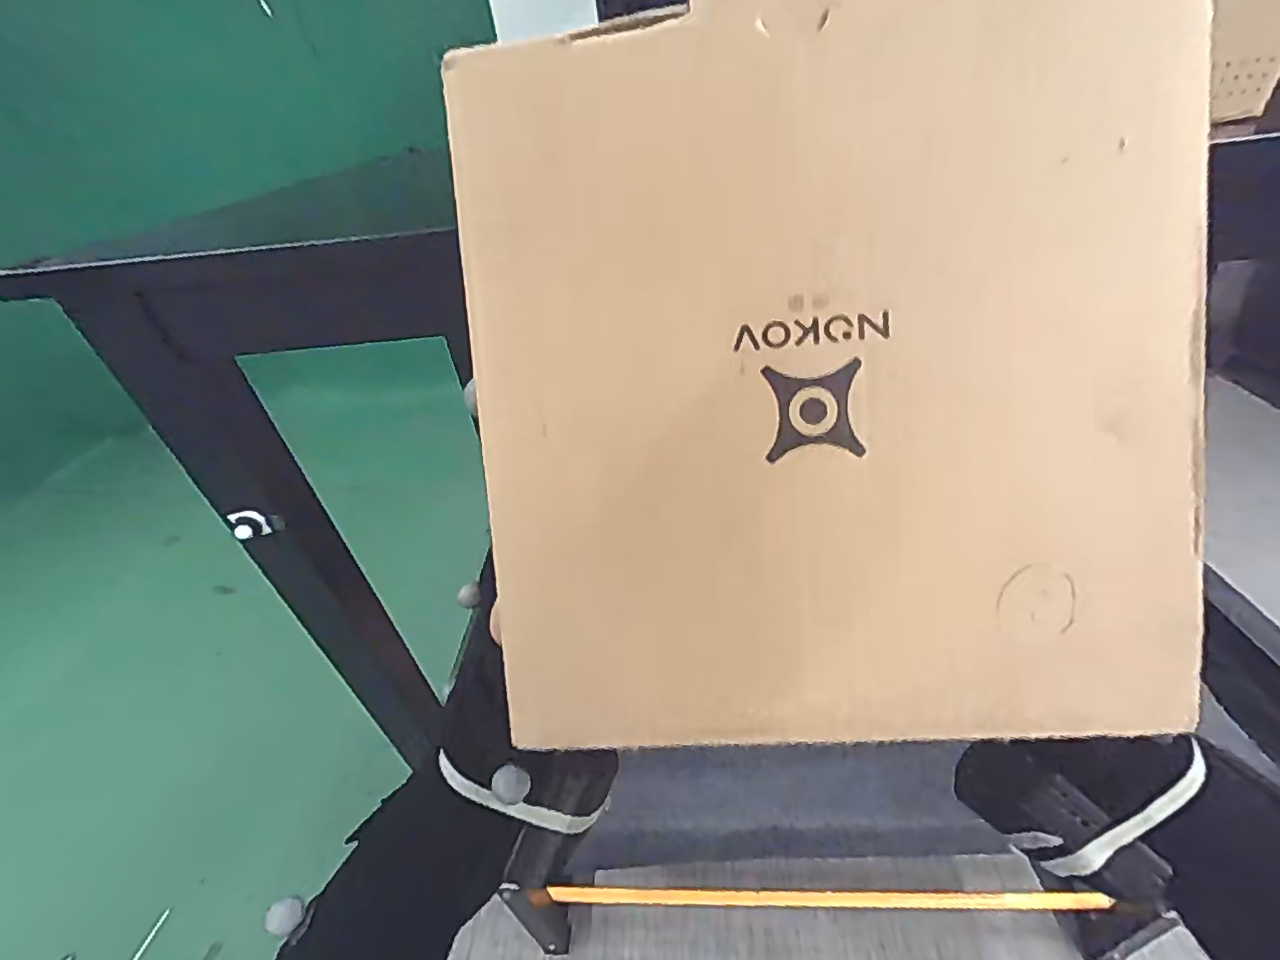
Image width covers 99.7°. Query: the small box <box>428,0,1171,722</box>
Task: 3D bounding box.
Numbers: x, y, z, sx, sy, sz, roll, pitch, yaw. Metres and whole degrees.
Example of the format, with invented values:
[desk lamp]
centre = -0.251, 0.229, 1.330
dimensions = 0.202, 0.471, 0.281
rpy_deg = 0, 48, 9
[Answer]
[small box]
centre = 0.044, -0.033, 0.209
dimensions = 0.168, 0.179, 0.176
rpy_deg = -5, 4, 6
